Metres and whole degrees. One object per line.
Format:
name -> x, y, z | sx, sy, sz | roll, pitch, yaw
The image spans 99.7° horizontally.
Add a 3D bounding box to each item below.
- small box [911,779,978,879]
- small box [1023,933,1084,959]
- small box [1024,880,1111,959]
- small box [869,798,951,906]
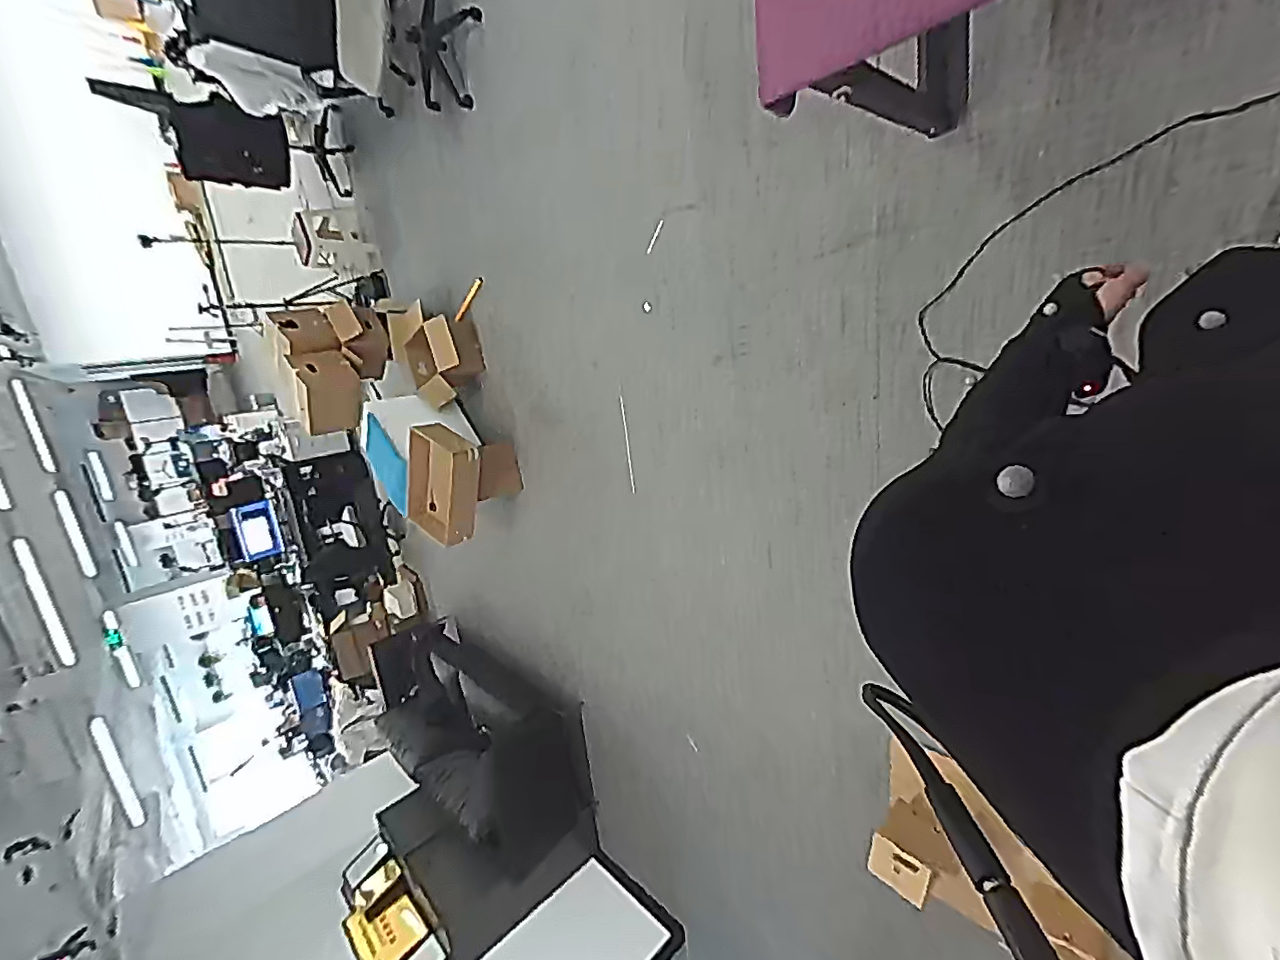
small box -> 0.972, 1.117, 1.749 | 0.168, 0.176, 0.179 | 16, 117, 44
small box -> 1.117, 1.370, 1.427 | 0.168, 0.176, 0.179 | 1, 106, 50
small box -> 1.222, 1.312, 1.543 | 0.168, 0.176, 0.179 | -1, 104, 49
small box -> 0.830, 1.129, 1.657 | 0.168, 0.176, 0.179 | 21, 121, 43
